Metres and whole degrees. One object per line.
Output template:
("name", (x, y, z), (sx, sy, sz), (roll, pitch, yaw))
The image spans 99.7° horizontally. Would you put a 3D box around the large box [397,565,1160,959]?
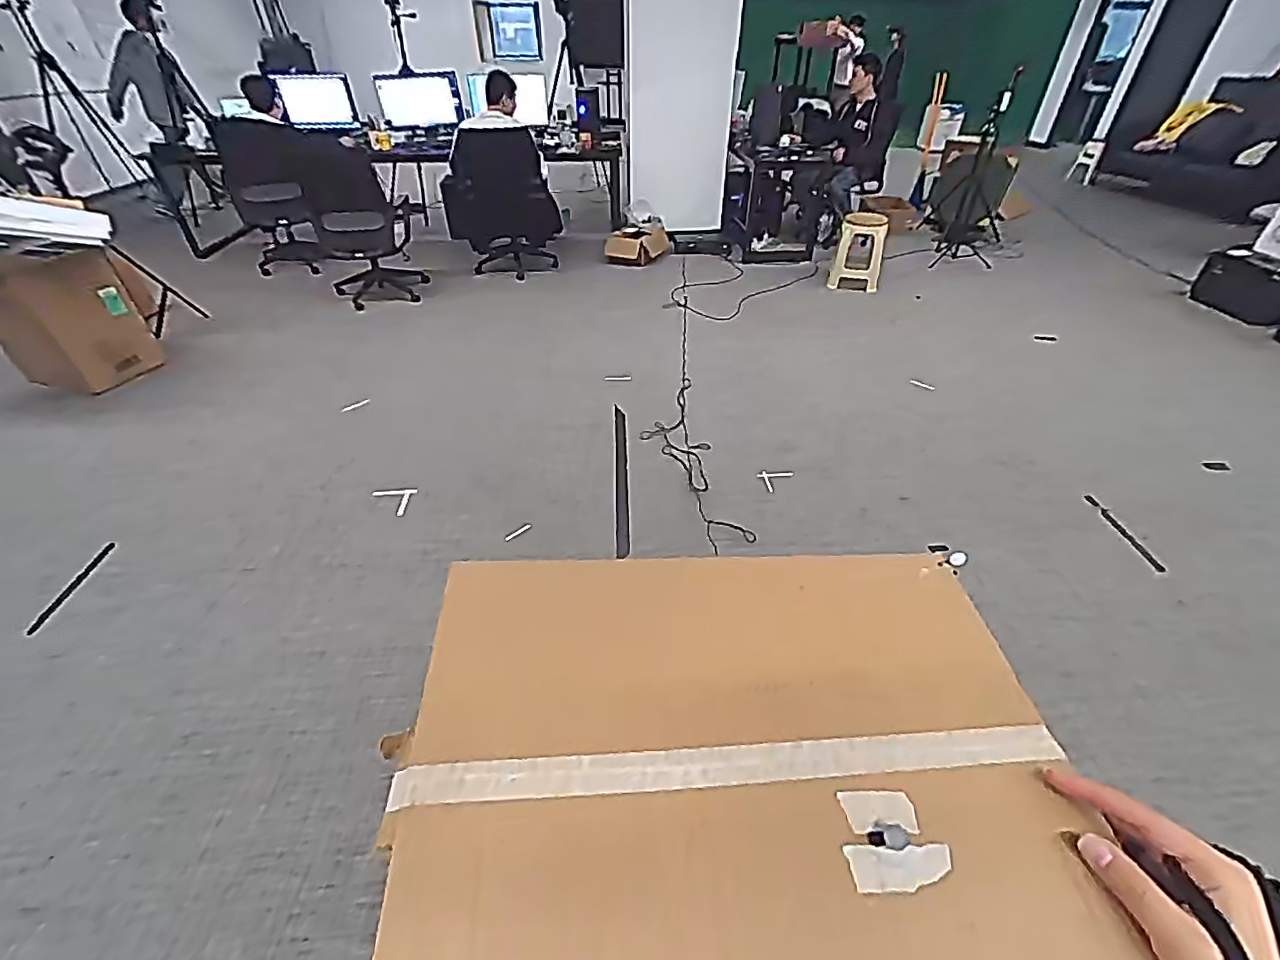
("large box", (0.056, 0.289, 0.440), (0.408, 0.320, 0.320), (0, 46, -7))
